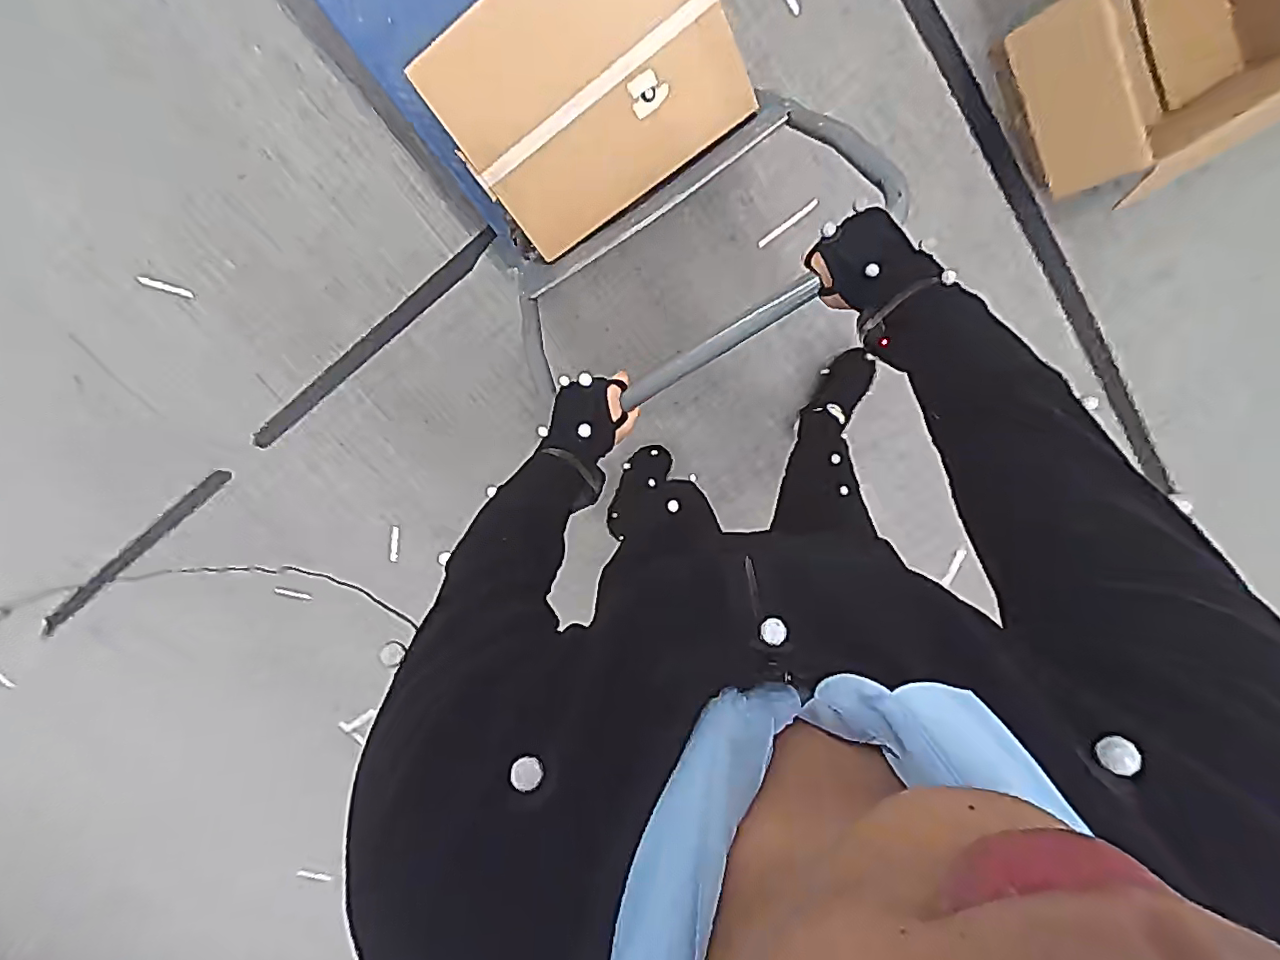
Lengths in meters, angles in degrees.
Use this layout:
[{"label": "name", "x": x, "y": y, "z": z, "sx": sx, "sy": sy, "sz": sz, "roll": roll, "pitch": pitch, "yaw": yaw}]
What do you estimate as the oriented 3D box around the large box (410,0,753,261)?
[{"label": "large box", "x": -0.097, "y": -0.647, "z": 0.883, "sx": 0.408, "sy": 0.320, "sz": 0.320, "roll": -32, "pitch": 129, "yaw": 14}]
